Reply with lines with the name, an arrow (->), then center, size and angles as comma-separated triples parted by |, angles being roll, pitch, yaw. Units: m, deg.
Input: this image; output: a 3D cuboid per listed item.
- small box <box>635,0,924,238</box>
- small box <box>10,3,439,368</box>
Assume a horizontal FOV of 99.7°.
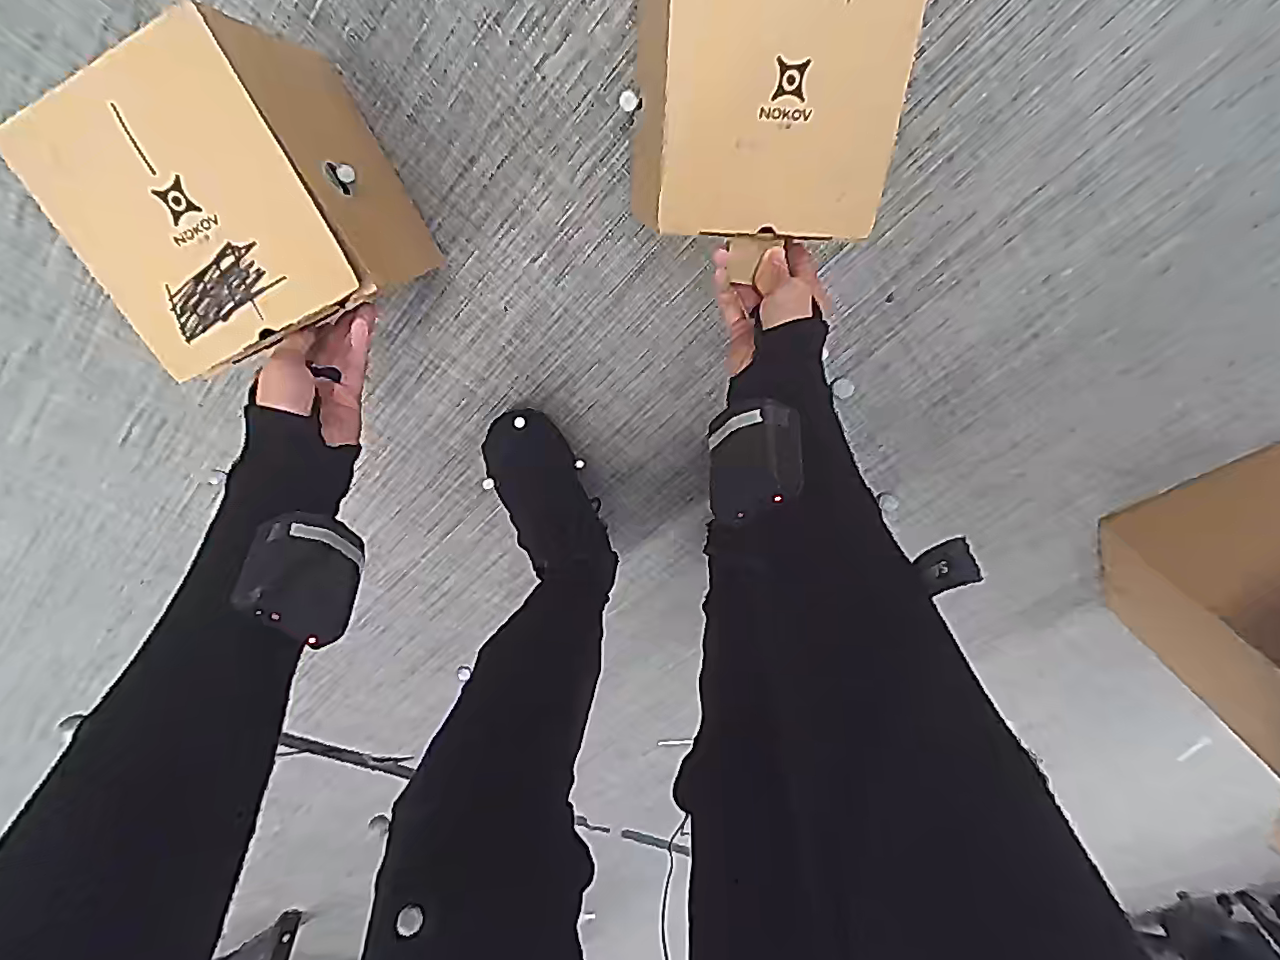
small box -> 0.088, -0.303, 0.430 | 0.168, 0.176, 0.179 | -1, 121, -7
small box -> -0.295, -0.220, 0.437 | 0.168, 0.176, 0.179 | -22, 115, 10
